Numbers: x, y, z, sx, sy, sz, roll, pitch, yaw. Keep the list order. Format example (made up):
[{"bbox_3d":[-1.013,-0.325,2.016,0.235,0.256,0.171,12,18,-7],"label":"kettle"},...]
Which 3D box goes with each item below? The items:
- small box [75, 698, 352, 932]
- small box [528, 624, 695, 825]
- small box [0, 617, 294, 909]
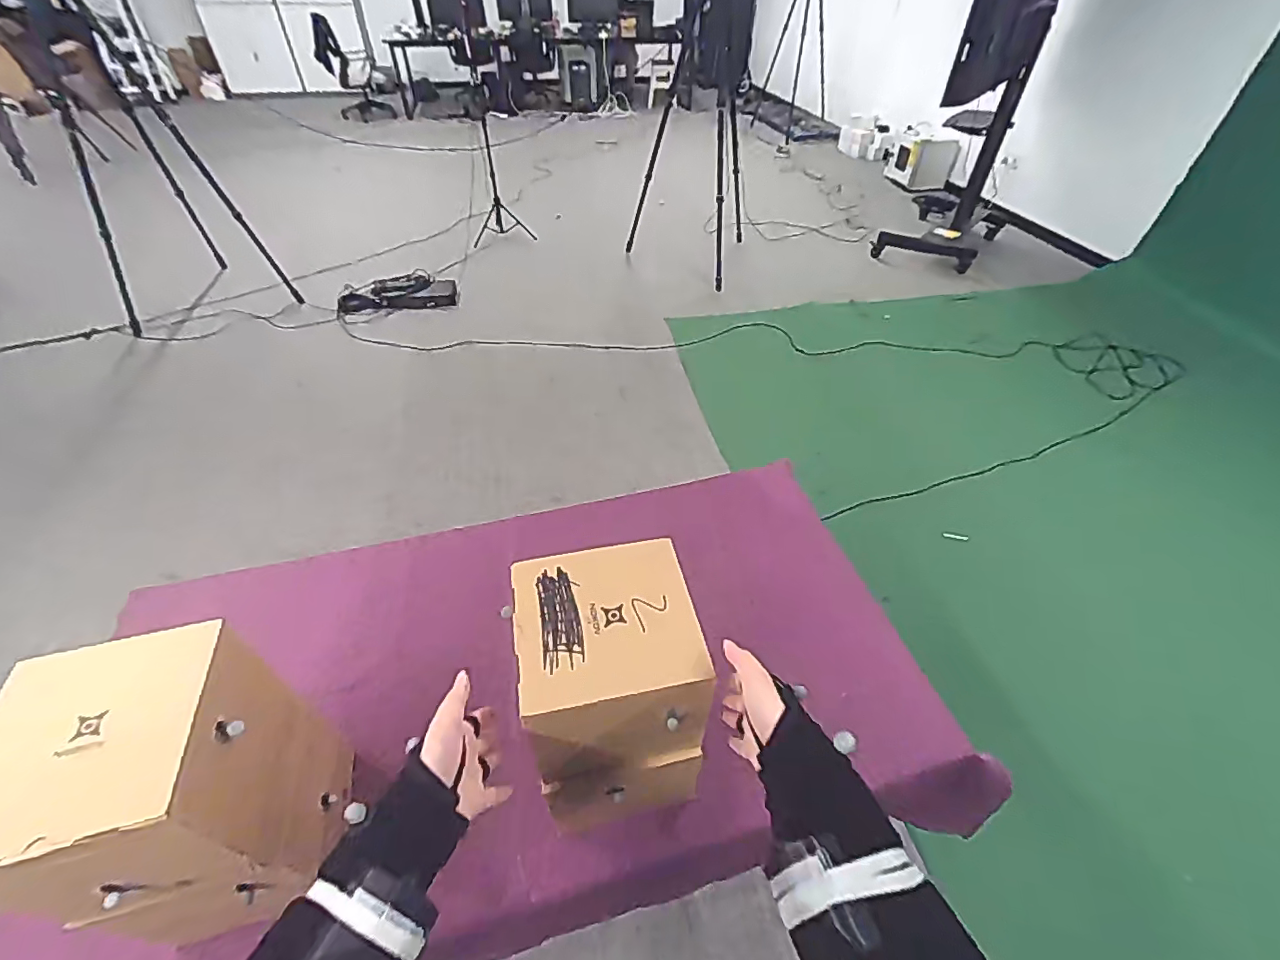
[{"bbox_3d":[-0.451,0.379,0.616,0.179,0.176,0.168,-11,45,-12],"label":"small box"},{"bbox_3d":[-0.039,0.312,0.689,0.179,0.176,0.168,-9,46,-10],"label":"small box"},{"bbox_3d":[-0.453,0.260,0.504,0.168,0.176,0.179,-11,47,-12],"label":"small box"}]
